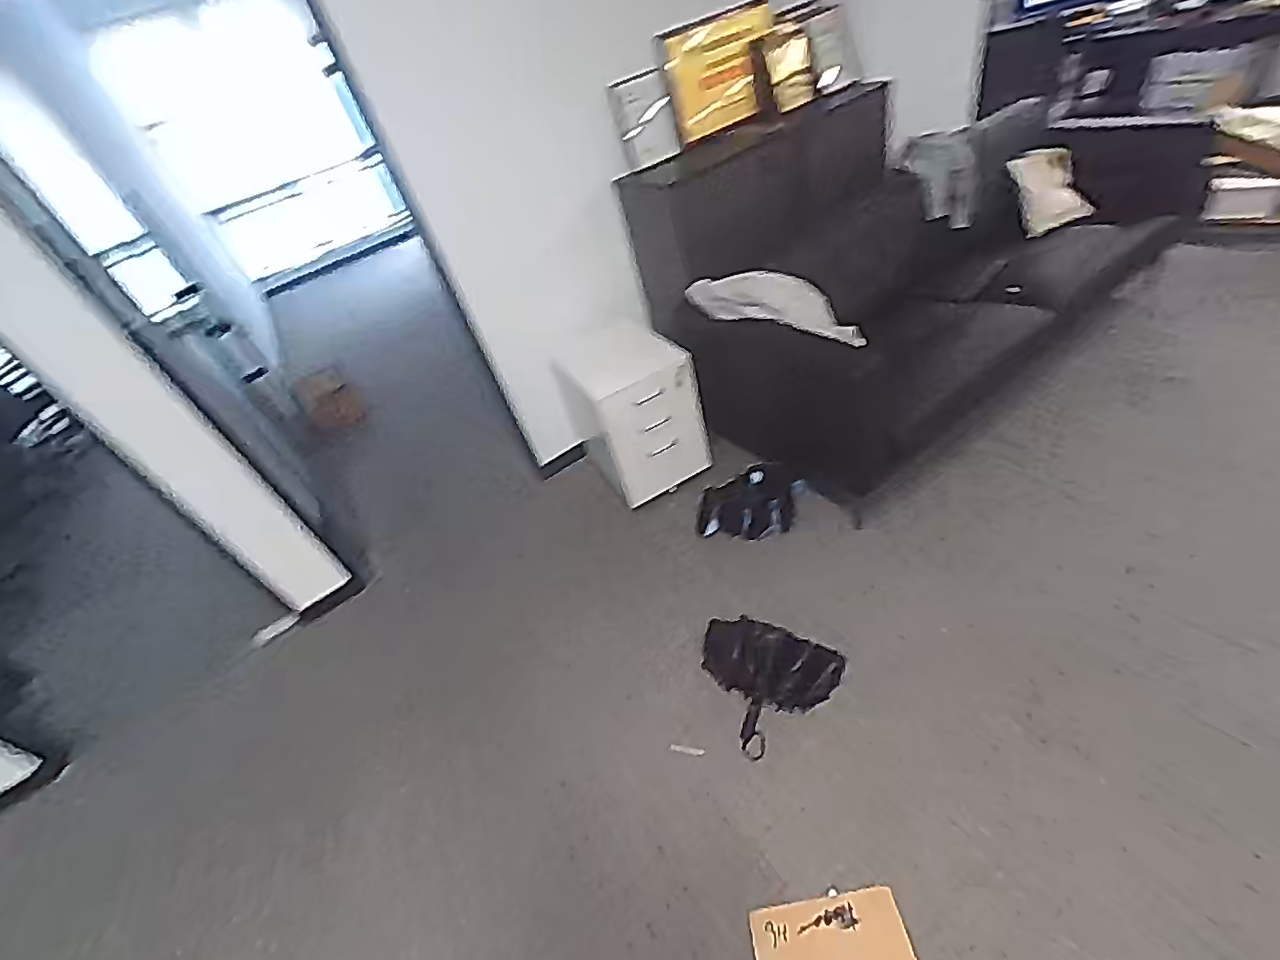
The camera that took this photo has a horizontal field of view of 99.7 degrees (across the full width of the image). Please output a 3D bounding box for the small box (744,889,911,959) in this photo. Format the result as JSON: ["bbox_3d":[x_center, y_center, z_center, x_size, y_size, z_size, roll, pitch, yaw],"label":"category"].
[{"bbox_3d":[0.221,0.579,0.566,0.168,0.176,0.179,-17,27,9],"label":"small box"}]
